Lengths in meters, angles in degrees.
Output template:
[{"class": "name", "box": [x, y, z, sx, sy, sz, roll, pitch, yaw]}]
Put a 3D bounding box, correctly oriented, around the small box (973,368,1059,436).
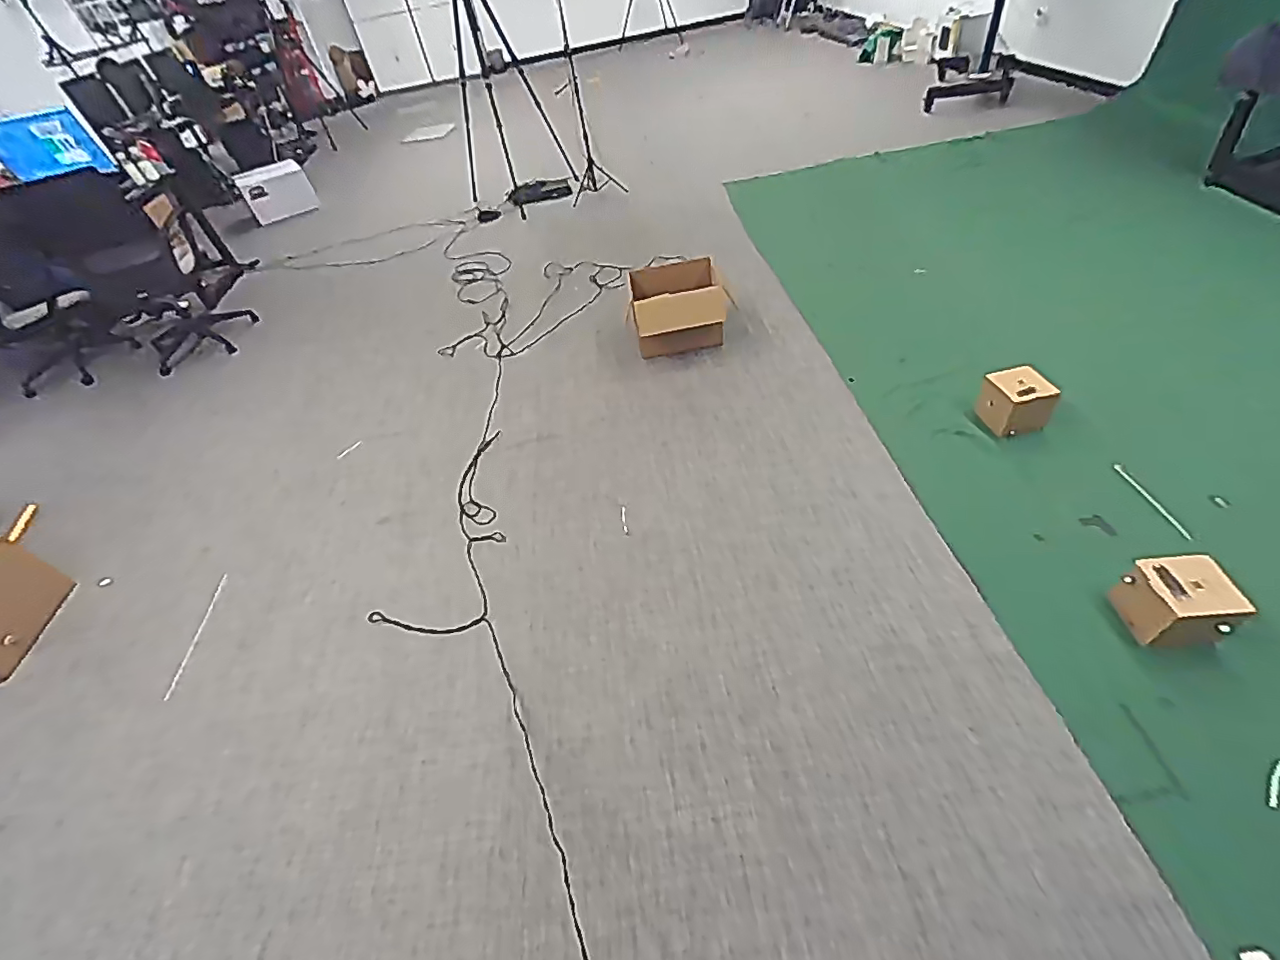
[{"class": "small box", "box": [1.347, -0.275, 1.952, 0.168, 0.176, 0.179, -12, 44, 0]}]
